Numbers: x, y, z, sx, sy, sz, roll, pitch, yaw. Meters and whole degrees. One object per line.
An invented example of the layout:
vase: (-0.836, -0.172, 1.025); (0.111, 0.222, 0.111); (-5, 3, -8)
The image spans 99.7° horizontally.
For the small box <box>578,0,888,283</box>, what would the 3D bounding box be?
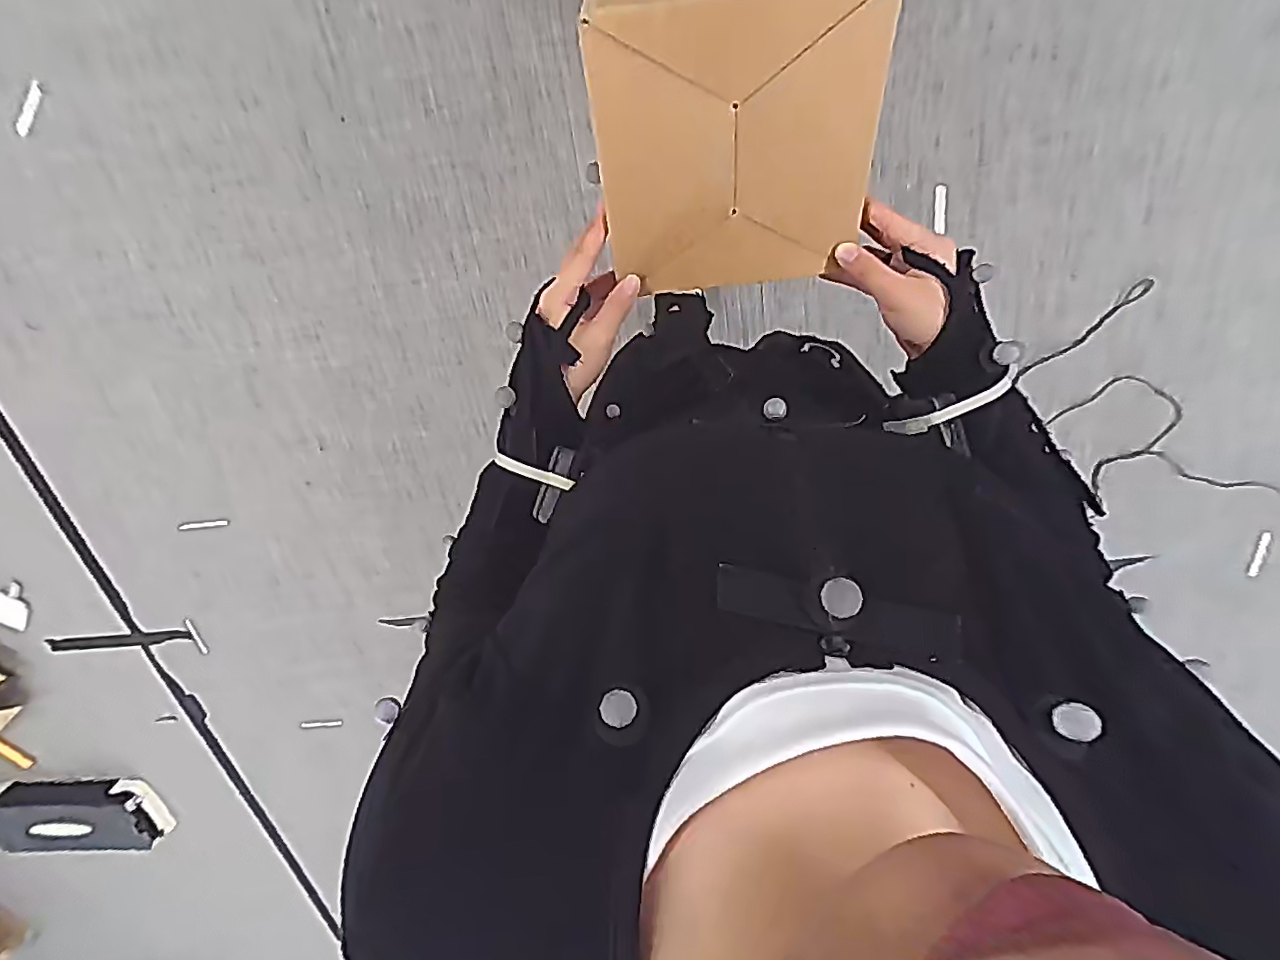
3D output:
small box: (0.054, -0.265, 0.402); (0.179, 0.176, 0.168); (-5, 137, 3)
